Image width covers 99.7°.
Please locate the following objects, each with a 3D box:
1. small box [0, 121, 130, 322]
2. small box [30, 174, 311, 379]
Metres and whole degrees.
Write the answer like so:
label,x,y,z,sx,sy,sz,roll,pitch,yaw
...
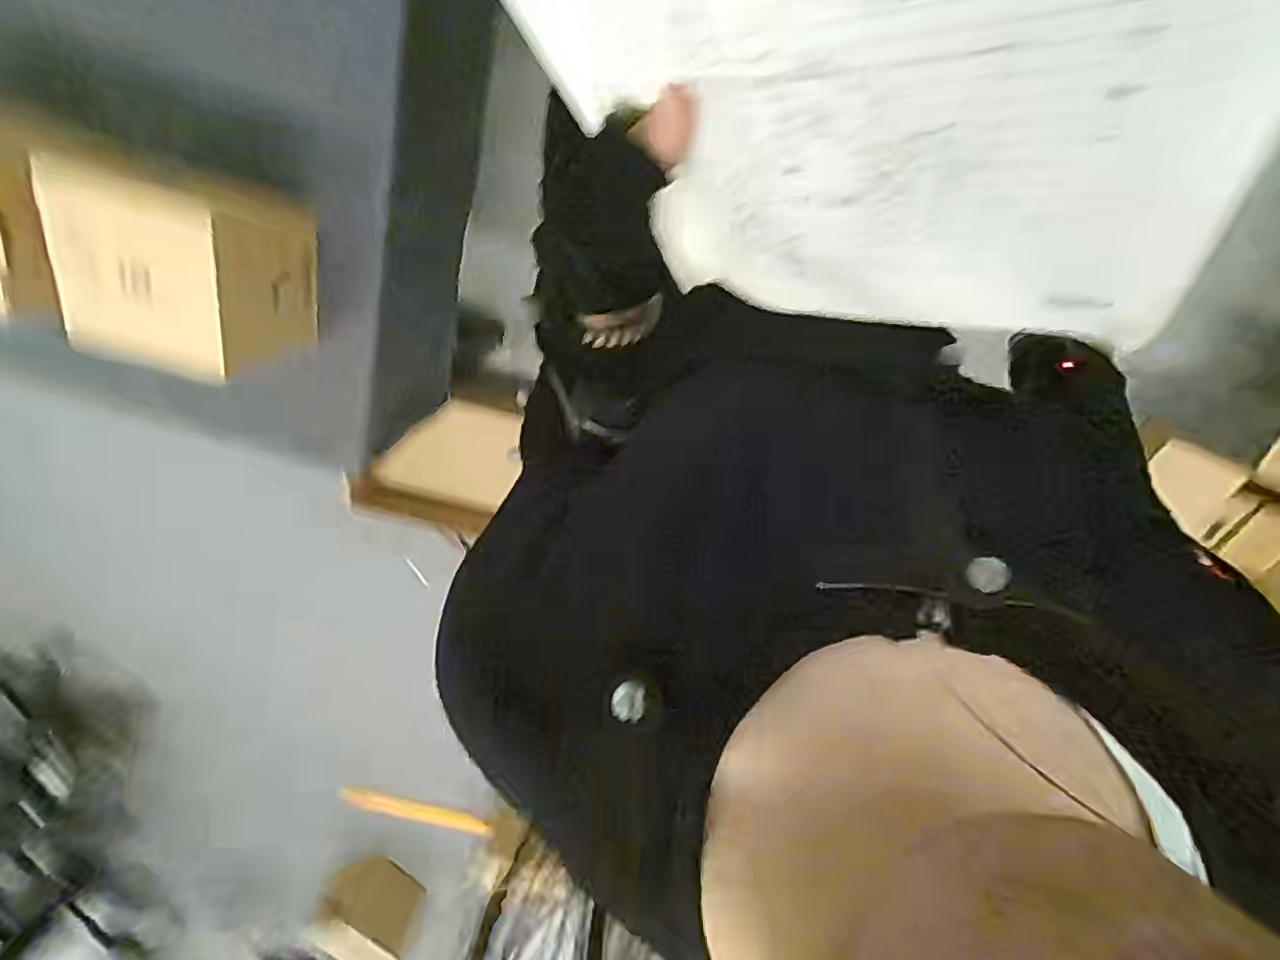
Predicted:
label,x,y,z,sx,sy,sz,roll,pitch,yaw
small box,-0.728,-0.303,0.615,0.179,0.176,0.168,19,117,-5
small box,-0.509,-0.238,0.624,0.179,0.176,0.168,16,117,-2
